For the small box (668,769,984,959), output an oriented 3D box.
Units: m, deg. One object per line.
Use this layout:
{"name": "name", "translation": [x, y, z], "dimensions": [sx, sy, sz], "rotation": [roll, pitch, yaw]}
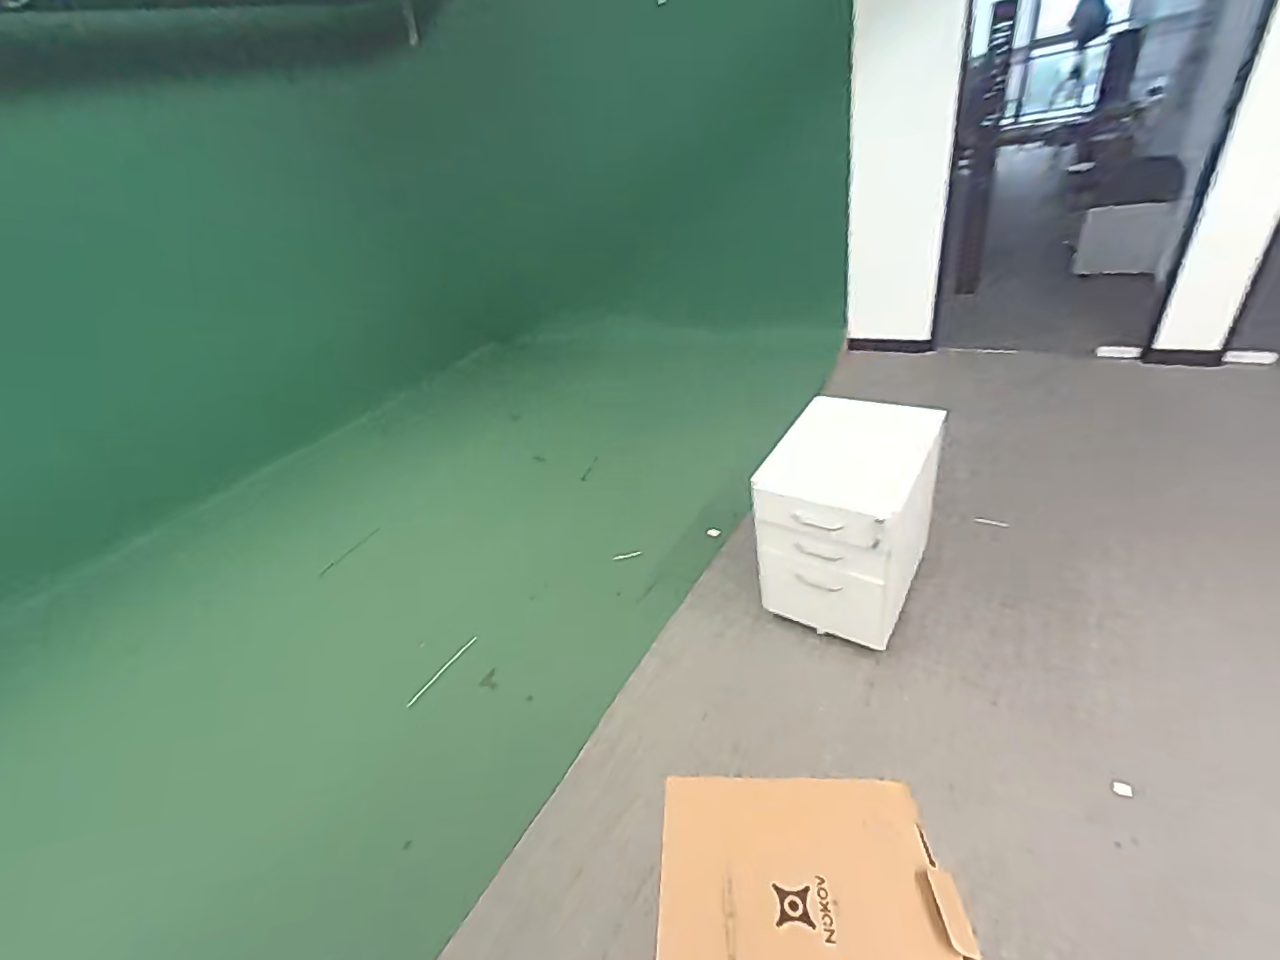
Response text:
{"name": "small box", "translation": [0.114, 0.326, 0.366], "dimensions": [0.179, 0.176, 0.168], "rotation": [-4, 26, 8]}
